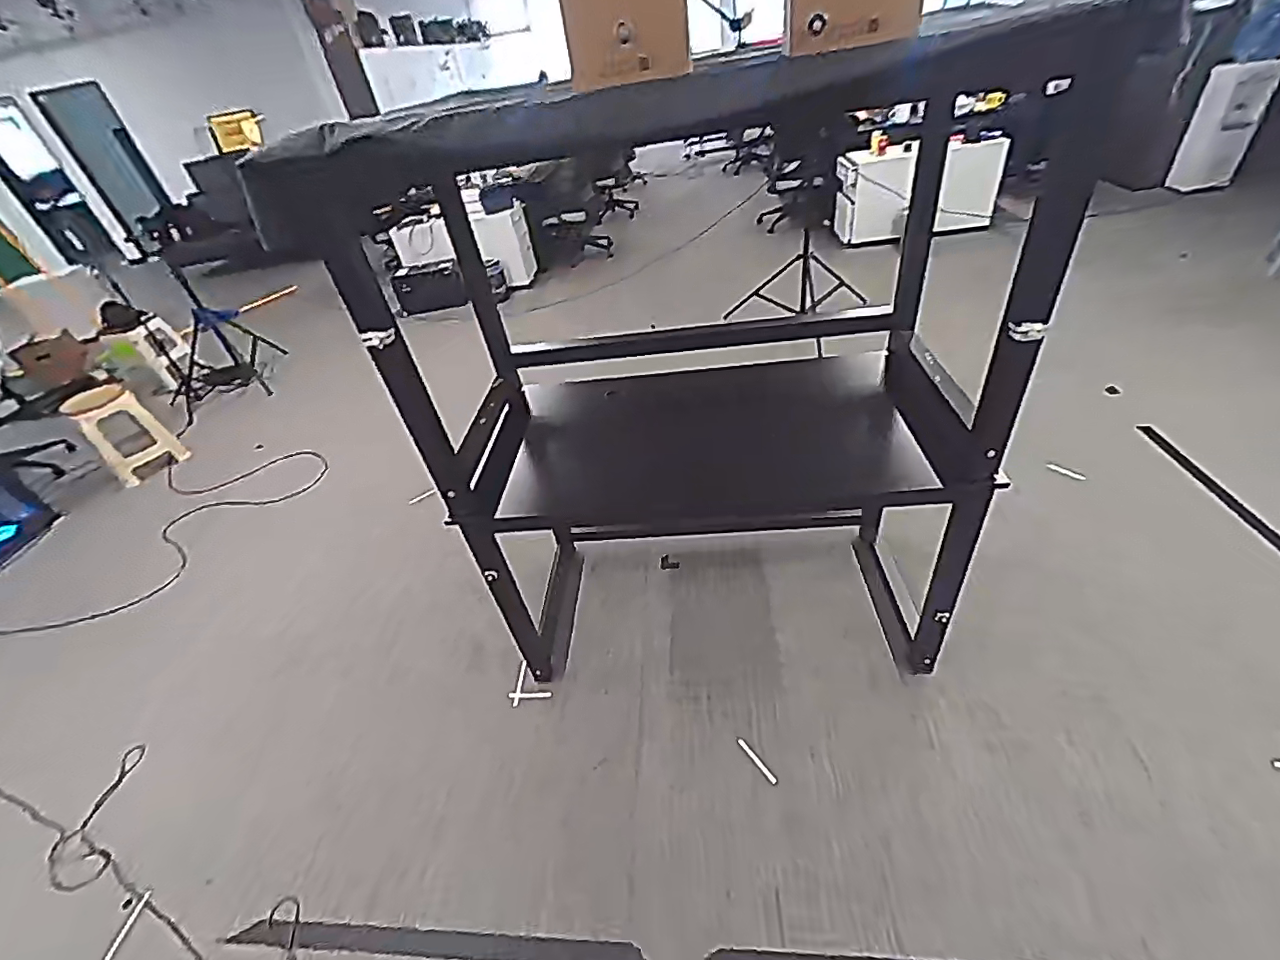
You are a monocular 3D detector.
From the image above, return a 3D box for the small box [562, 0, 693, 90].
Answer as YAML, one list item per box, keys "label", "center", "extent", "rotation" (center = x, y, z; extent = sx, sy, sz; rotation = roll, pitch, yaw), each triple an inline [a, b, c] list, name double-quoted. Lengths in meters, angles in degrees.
- label: "small box"
  center: [-0.015, -0.664, 0.764]
  extent: [0.168, 0.176, 0.179]
  rotation: [-4, 37, 9]

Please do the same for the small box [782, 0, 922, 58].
- label: "small box"
  center: [0.281, -0.687, 0.726]
  extent: [0.168, 0.176, 0.179]
  rotation: [-2, 38, 11]
